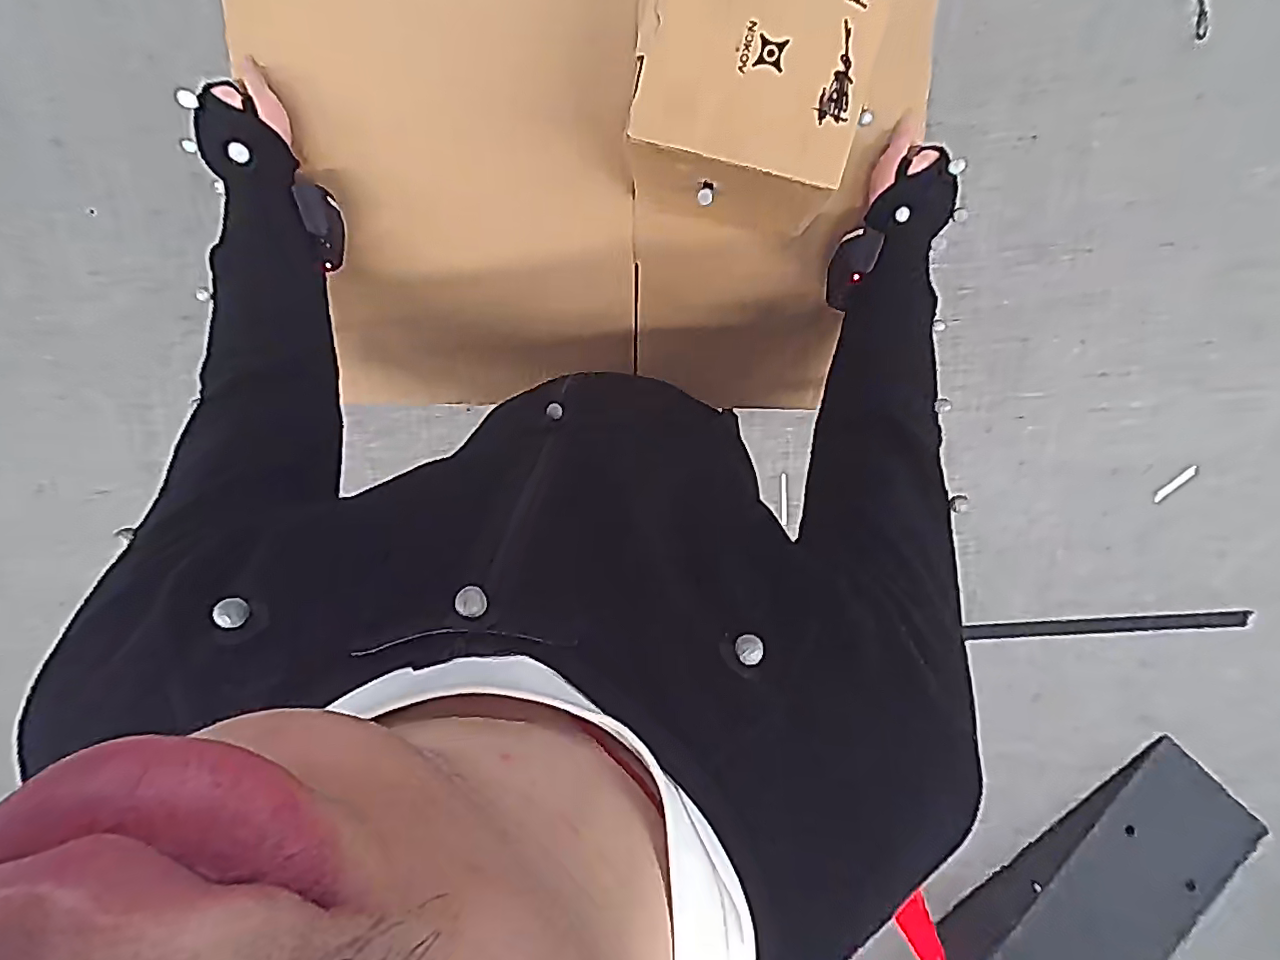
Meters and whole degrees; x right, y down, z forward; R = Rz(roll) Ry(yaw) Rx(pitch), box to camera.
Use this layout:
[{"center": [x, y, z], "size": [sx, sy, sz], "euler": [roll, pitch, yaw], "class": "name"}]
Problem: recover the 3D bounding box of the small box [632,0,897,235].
[{"center": [0.103, -0.345, 0.497], "size": [0.179, 0.176, 0.168], "euler": [15, 101, 2], "class": "small box"}]
